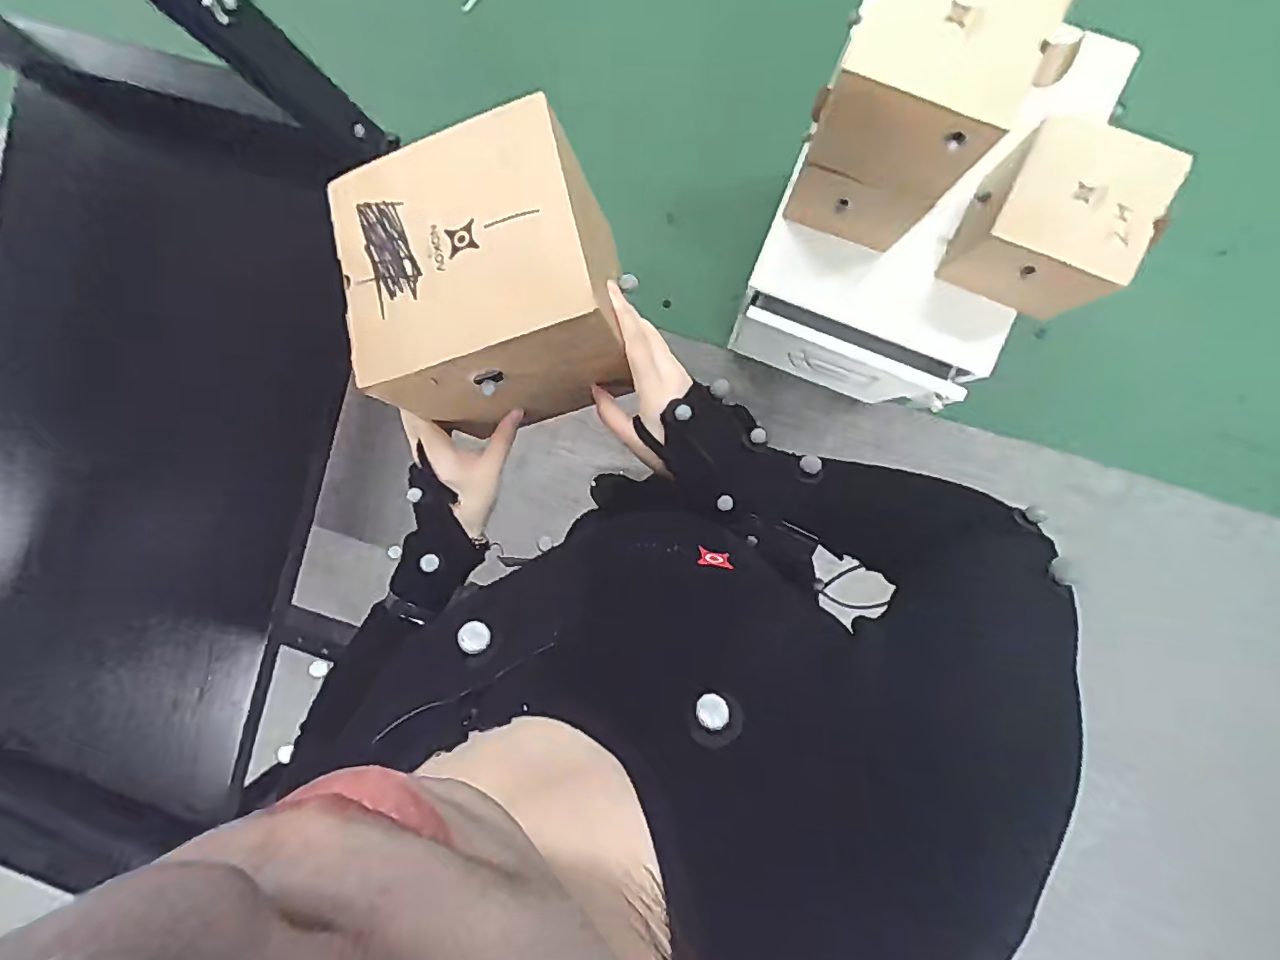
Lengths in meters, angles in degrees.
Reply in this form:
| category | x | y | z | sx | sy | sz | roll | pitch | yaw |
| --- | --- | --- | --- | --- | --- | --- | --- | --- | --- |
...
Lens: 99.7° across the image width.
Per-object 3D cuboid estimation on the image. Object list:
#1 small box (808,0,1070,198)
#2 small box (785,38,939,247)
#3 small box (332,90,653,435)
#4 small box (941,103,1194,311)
| category | x | y | z | sx | sy | sz | roll | pitch | yaw |
| --- | --- | --- | --- | --- | --- | --- | --- | --- | --- |
| small box | 0.304 | -0.437 | 0.579 | 0.179 | 0.176 | 0.168 | 22 | 95 | 2 |
| small box | 0.317 | -0.447 | 0.742 | 0.179 | 0.176 | 0.168 | 21 | 95 | 4 |
| small box | -0.103 | -0.147 | 0.432 | 0.179 | 0.176 | 0.168 | -15 | 80 | 10 |
| small box | 0.545 | -0.346 | 0.723 | 0.179 | 0.176 | 0.168 | 24 | 96 | 4 |
